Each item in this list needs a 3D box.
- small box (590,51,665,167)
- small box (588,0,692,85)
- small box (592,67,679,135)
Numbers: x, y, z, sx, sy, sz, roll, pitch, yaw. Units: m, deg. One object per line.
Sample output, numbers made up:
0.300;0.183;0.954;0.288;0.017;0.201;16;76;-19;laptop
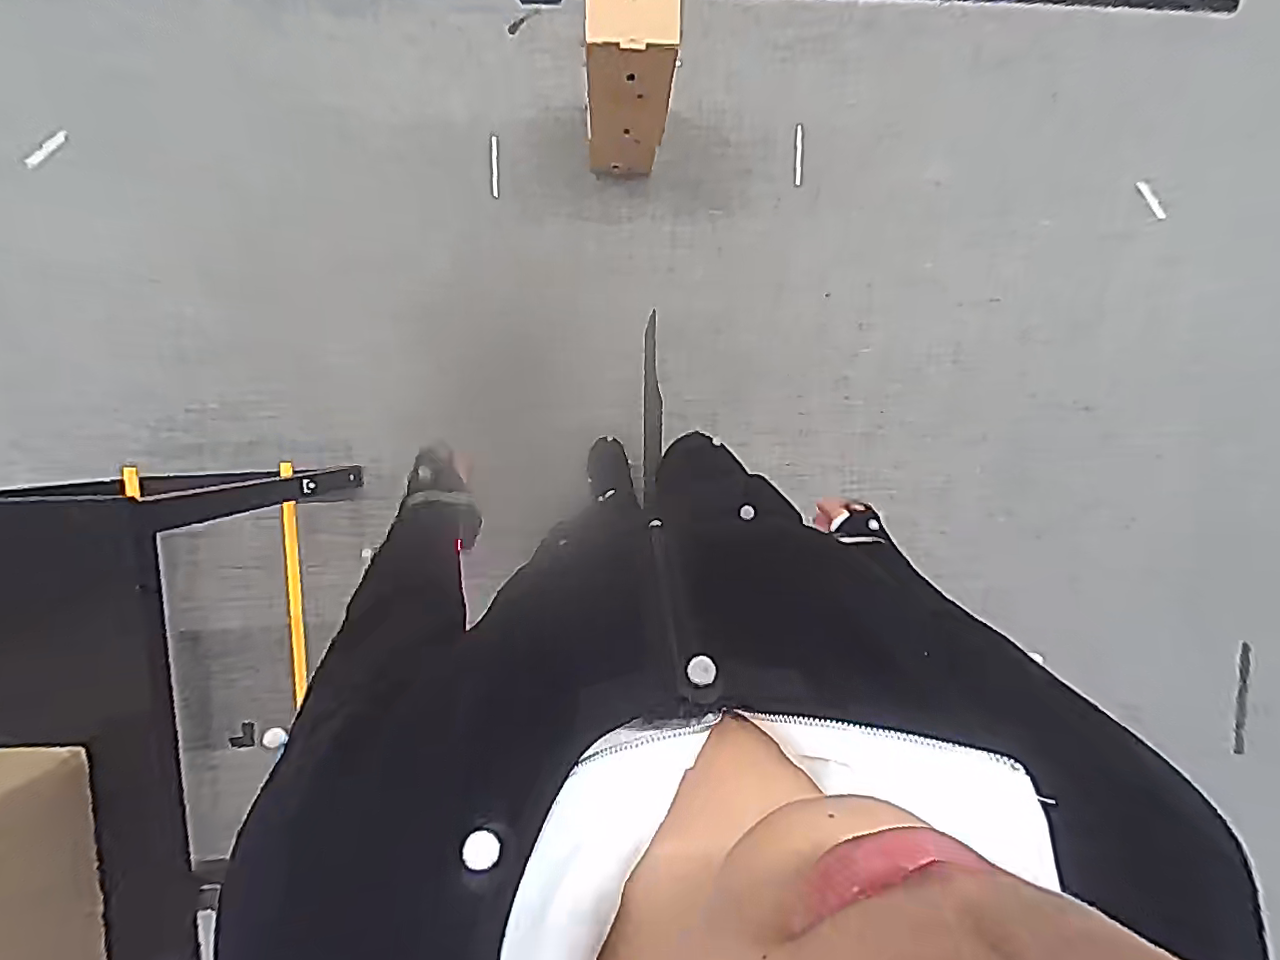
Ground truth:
-0.032;-0.852;1.241;0.168;0.176;0.179;-1;97;-3;small box
-0.003;-0.809;0.916;0.168;0.176;0.179;0;96;-3;small box
-0.013;-0.827;1.079;0.168;0.176;0.179;-1;96;-3;small box
